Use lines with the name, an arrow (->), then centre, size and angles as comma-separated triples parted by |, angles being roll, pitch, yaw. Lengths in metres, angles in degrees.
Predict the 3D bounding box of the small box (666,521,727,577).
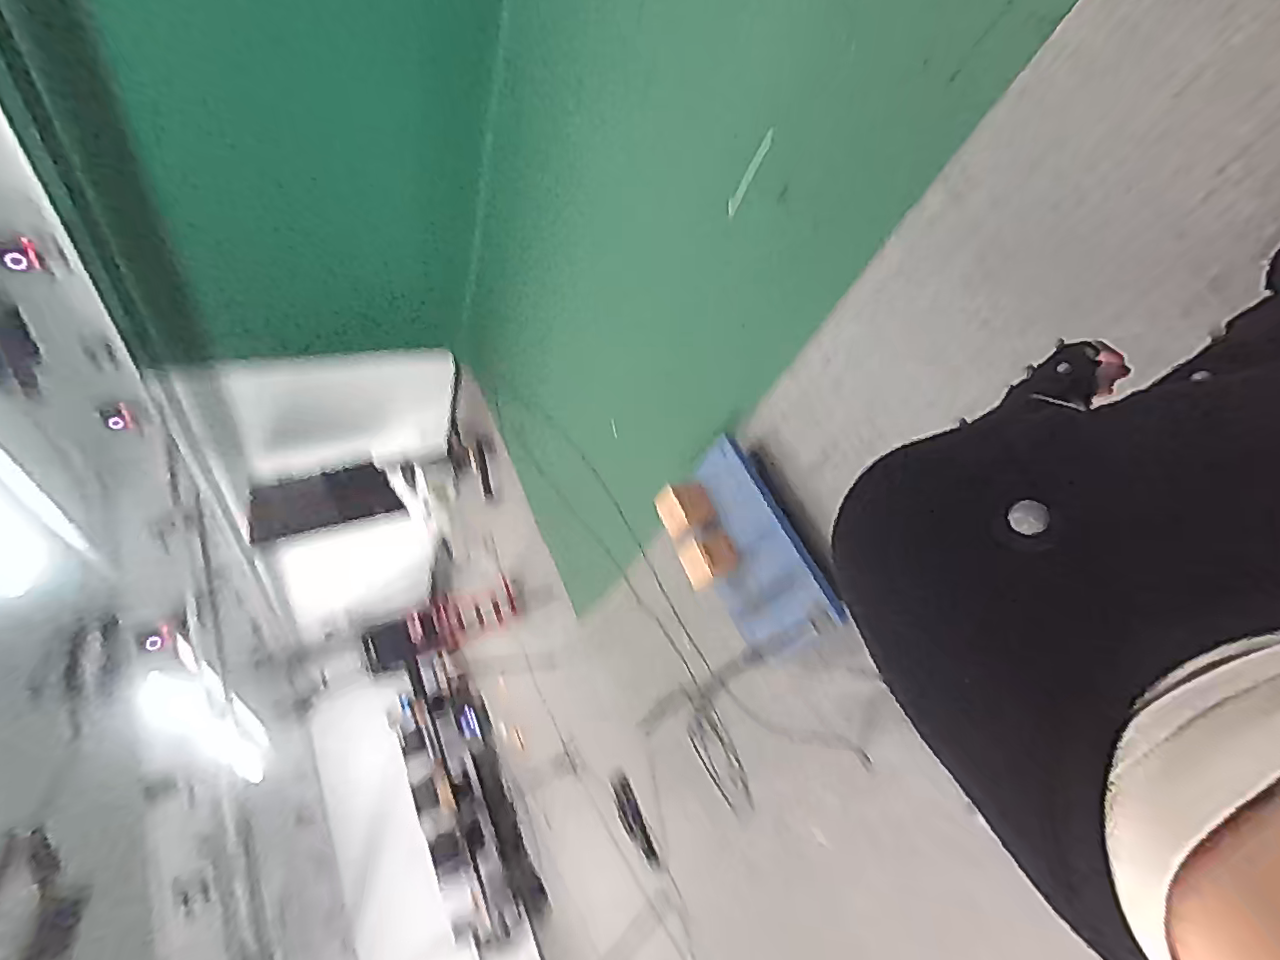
small box -> 0.247, 0.299, 2.342 | 0.168, 0.176, 0.179 | 63, 145, 18

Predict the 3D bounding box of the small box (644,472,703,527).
small box -> 0.151, 0.082, 2.406 | 0.179, 0.176, 0.168 | 62, 144, 19
